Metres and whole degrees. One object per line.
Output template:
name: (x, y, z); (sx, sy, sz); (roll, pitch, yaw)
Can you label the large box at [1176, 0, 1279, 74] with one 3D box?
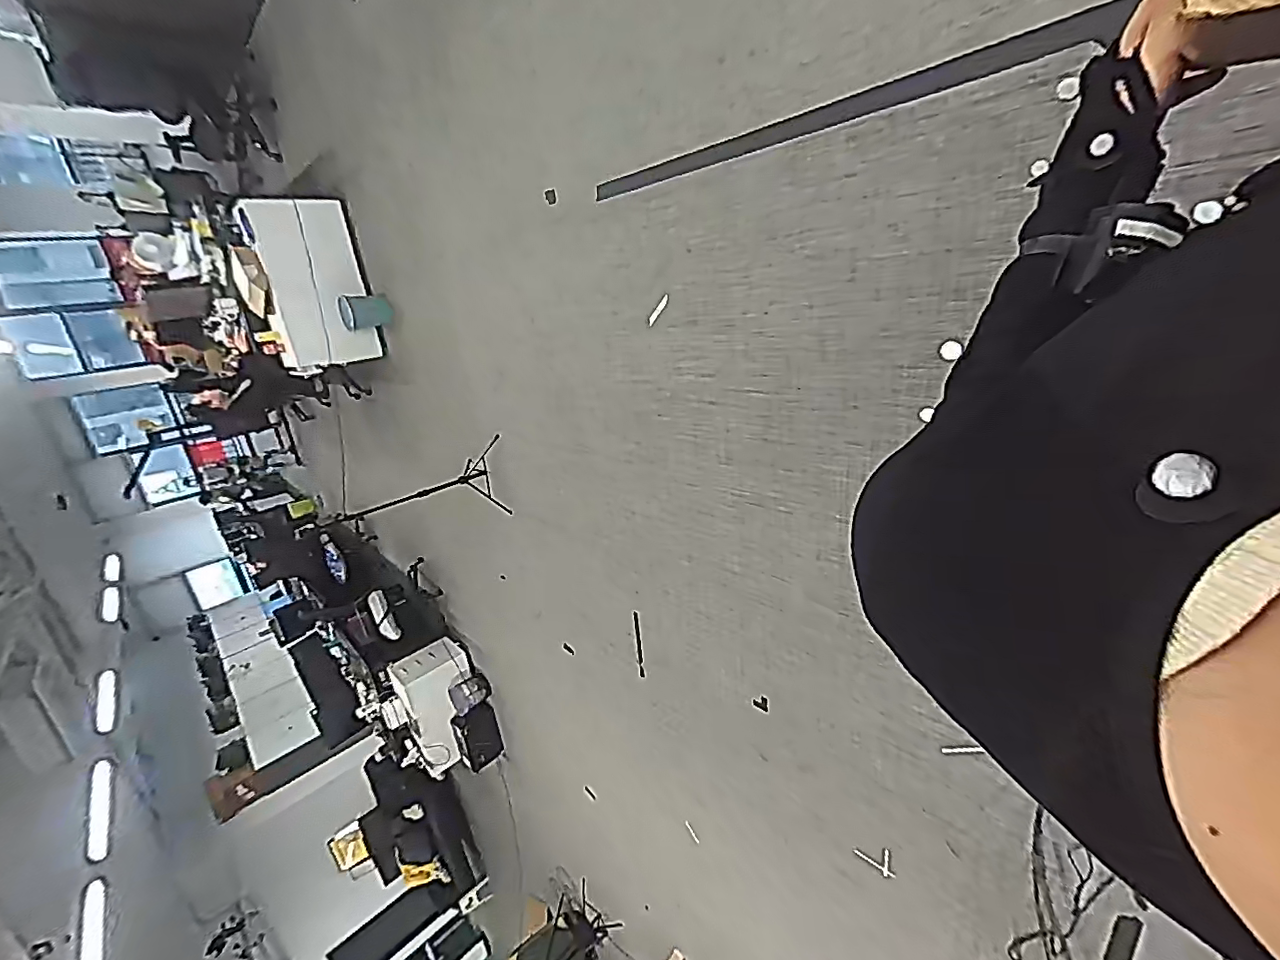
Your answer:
large box: (0.427, -0.322, 0.108); (0.408, 0.320, 0.320); (17, 127, 37)
